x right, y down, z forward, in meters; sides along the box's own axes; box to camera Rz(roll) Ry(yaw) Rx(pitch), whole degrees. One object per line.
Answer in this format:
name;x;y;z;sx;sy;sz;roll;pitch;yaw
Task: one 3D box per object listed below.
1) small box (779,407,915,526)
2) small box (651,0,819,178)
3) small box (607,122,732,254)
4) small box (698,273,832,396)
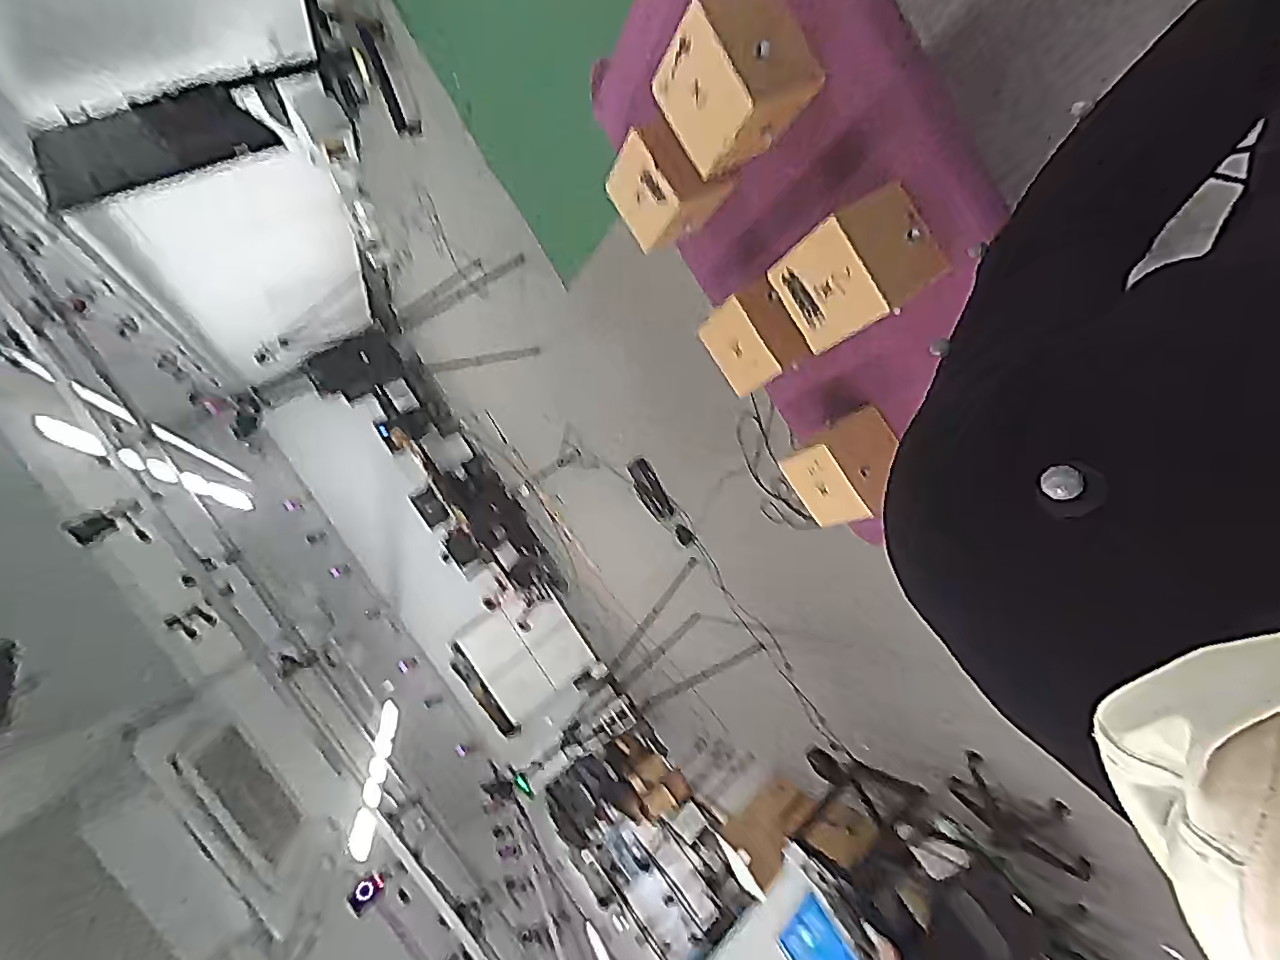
small box;0.443;-0.027;1.157;0.179;0.176;0.168;56;157;-1
small box;0.155;-0.646;0.883;0.179;0.176;0.168;57;158;-6
small box;0.064;-0.610;1.114;0.168;0.176;0.179;57;159;-4
small box;0.261;-0.310;1.138;0.179;0.176;0.168;56;158;-3
